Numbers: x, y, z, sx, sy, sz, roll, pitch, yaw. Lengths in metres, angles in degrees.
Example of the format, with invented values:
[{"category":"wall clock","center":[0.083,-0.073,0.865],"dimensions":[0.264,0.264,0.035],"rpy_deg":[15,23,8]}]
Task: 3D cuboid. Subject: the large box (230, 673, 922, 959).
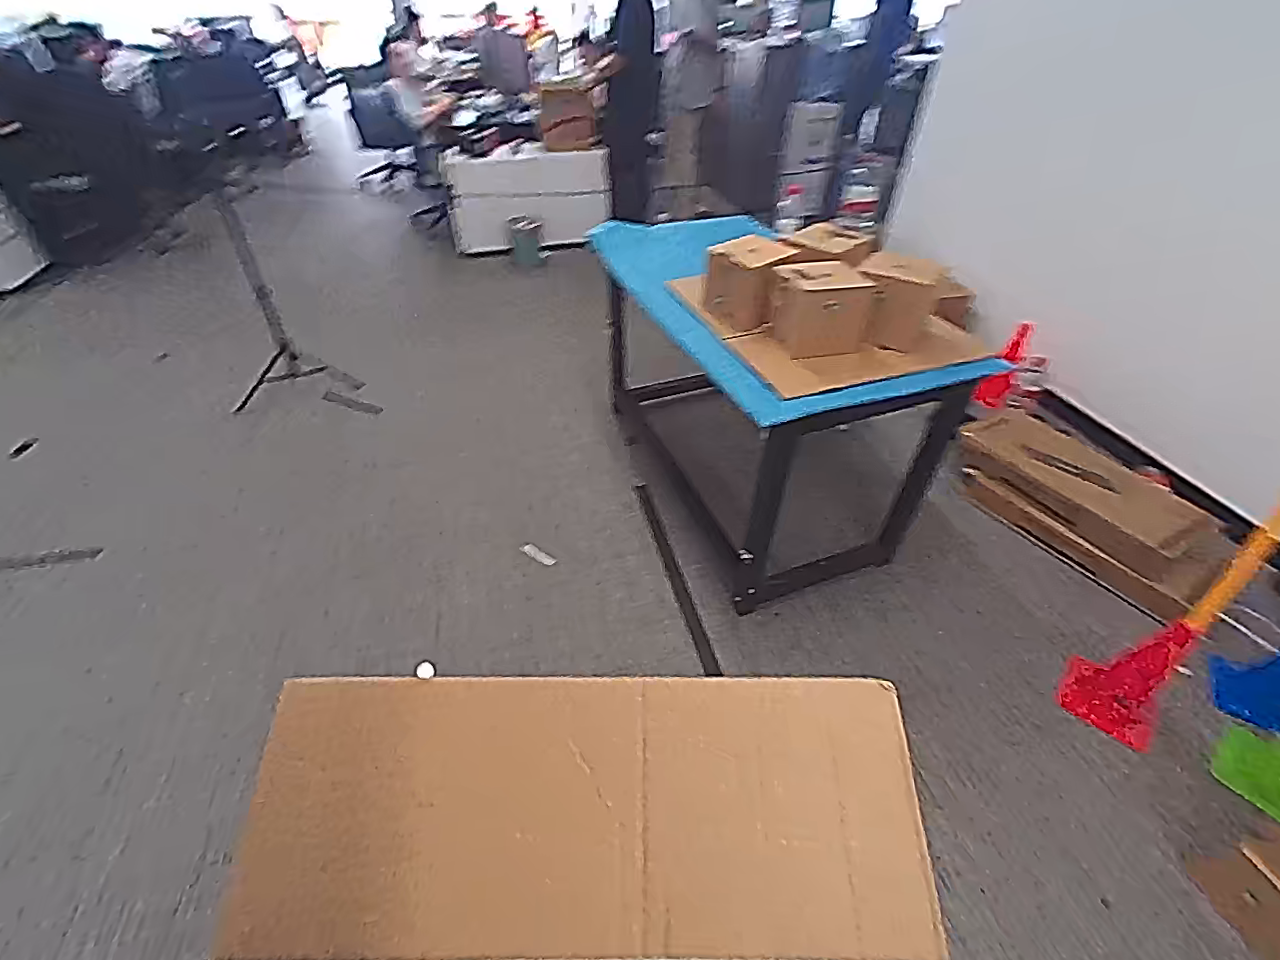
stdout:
[{"category":"large box","center":[-0.038,0.343,0.439],"dimensions":[0.408,0.320,0.320],"rpy_deg":[-1,65,0]}]
